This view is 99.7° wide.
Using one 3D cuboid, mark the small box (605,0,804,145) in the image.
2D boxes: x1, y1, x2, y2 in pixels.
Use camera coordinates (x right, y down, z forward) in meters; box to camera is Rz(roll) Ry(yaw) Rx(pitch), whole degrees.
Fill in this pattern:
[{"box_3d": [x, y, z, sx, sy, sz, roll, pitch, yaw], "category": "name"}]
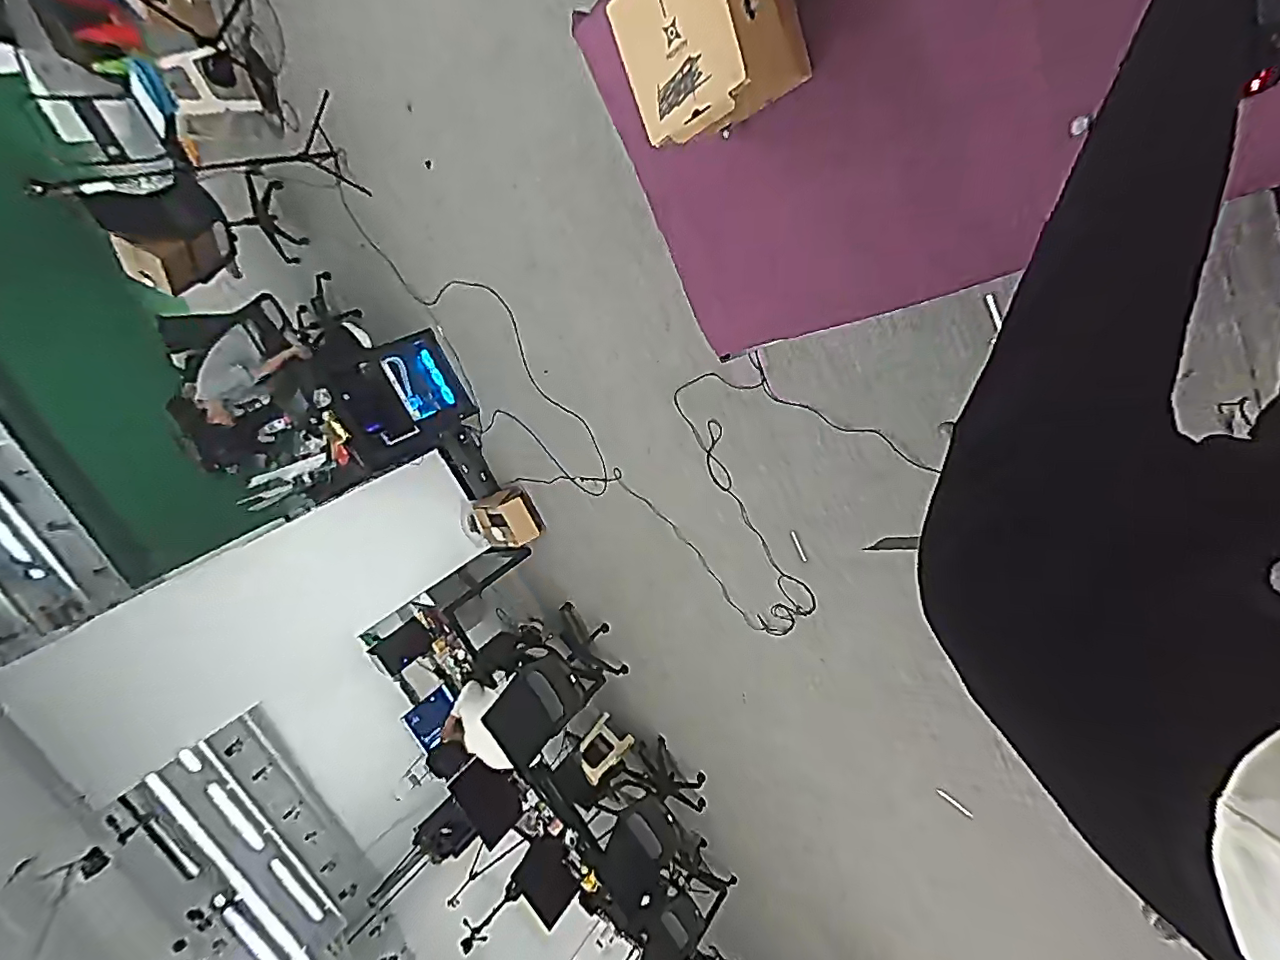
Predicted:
[{"box_3d": [0.091, -0.579, 0.710, 0.168, 0.176, 0.179, -3, 117, 47], "category": "small box"}]
